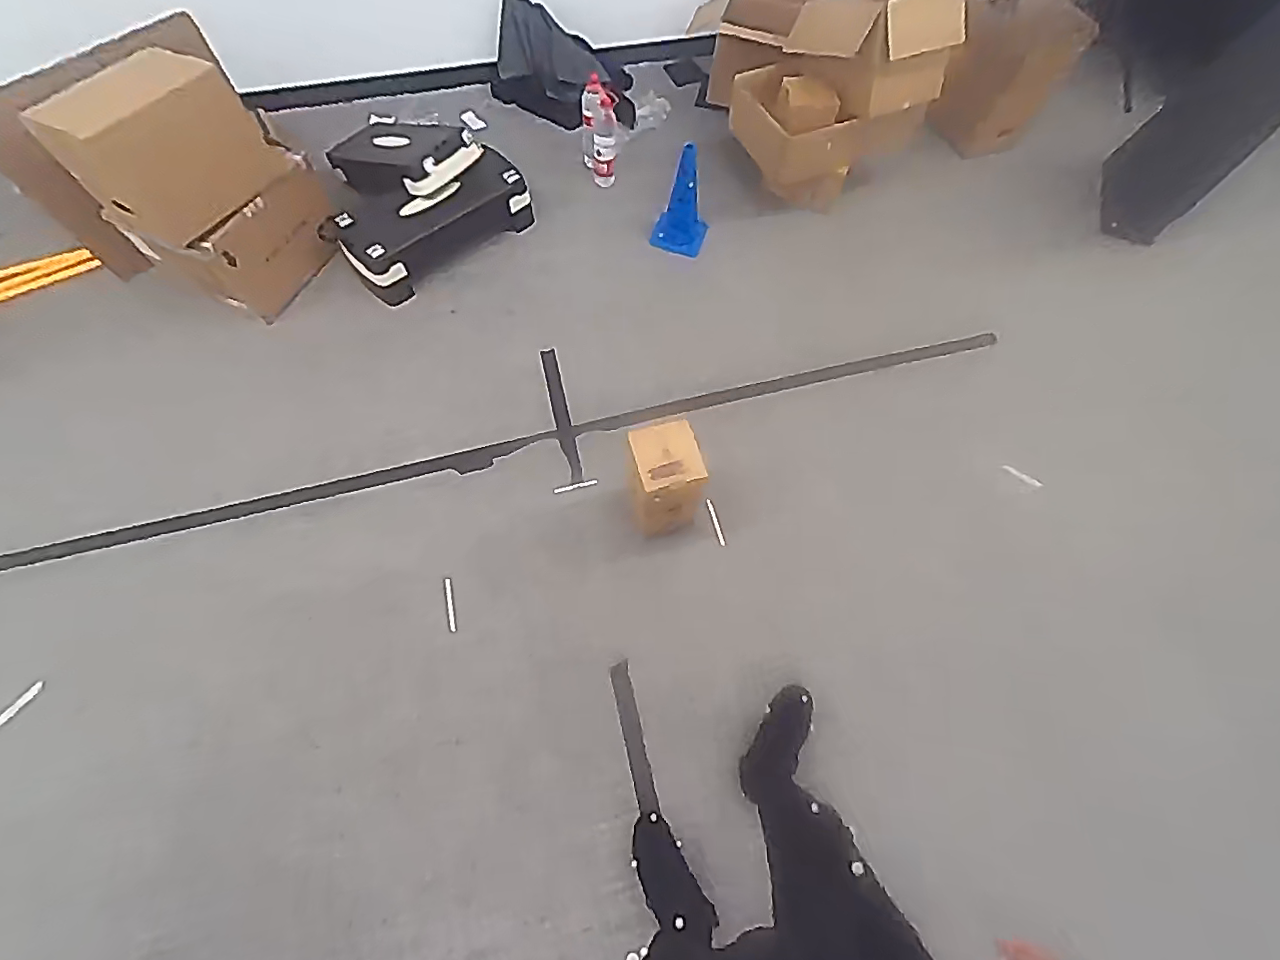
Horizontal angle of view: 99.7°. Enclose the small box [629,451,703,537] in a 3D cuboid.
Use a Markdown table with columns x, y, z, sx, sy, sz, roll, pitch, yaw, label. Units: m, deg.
| x | y | z | sx | sy | sz | roll | pitch | yaw | label |
| --- | --- | --- | --- | --- | --- | --- | --- | --- | --- |
| 0.069 | 0.046 | 1.581 | 0.168 | 0.176 | 0.179 | -16 | 68 | -9 | small box |
